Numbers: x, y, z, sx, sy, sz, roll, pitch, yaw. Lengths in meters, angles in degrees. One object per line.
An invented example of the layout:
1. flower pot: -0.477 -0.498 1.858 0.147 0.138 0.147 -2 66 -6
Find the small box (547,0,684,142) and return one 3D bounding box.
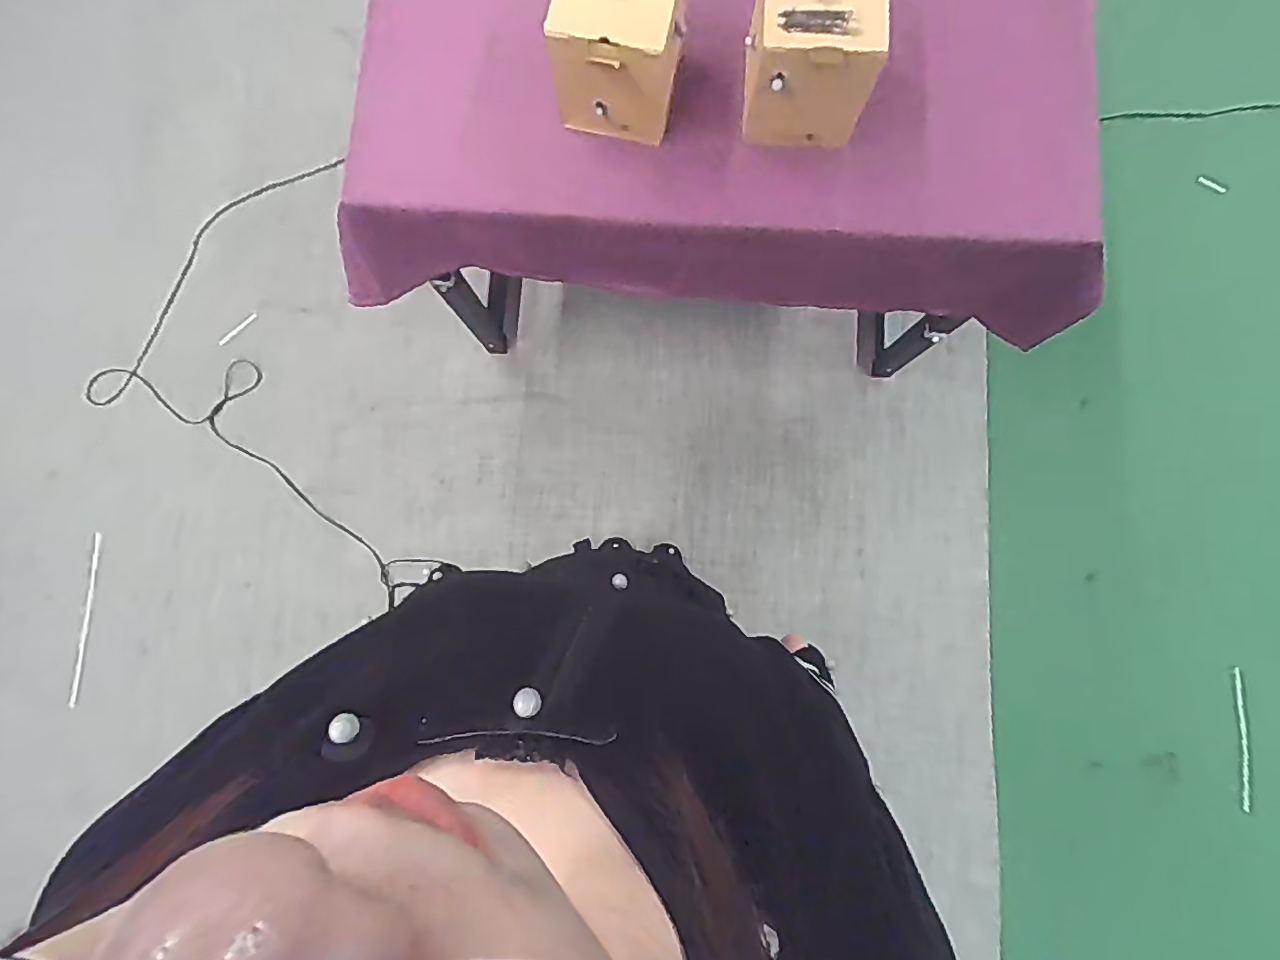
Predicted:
1. small box: -0.031 -0.662 0.818 0.168 0.176 0.179 12 84 2
